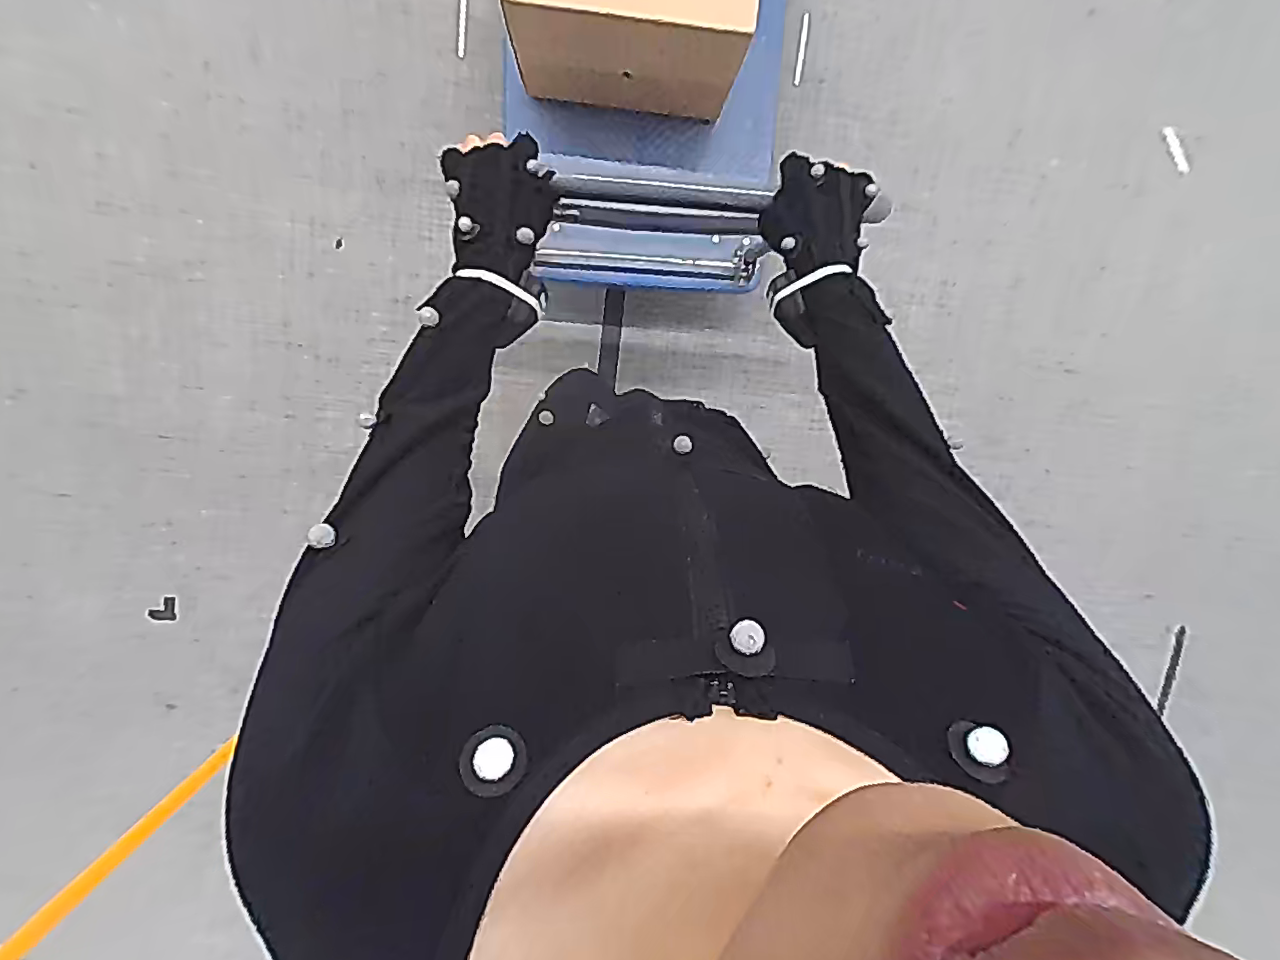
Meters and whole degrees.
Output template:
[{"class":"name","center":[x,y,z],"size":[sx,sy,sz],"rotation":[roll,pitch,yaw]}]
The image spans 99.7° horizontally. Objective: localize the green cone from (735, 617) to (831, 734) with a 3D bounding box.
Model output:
[{"class":"green cone","center":[0.404,0.539,1.425],"size":[0.202,0.368,0.200],"rotation":[9,100,-6]}]

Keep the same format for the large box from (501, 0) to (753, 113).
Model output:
[{"class":"large box","center":[-0.015,-0.910,0.974],"size":[0.408,0.320,0.320],"rotation":[4,101,-4]}]
